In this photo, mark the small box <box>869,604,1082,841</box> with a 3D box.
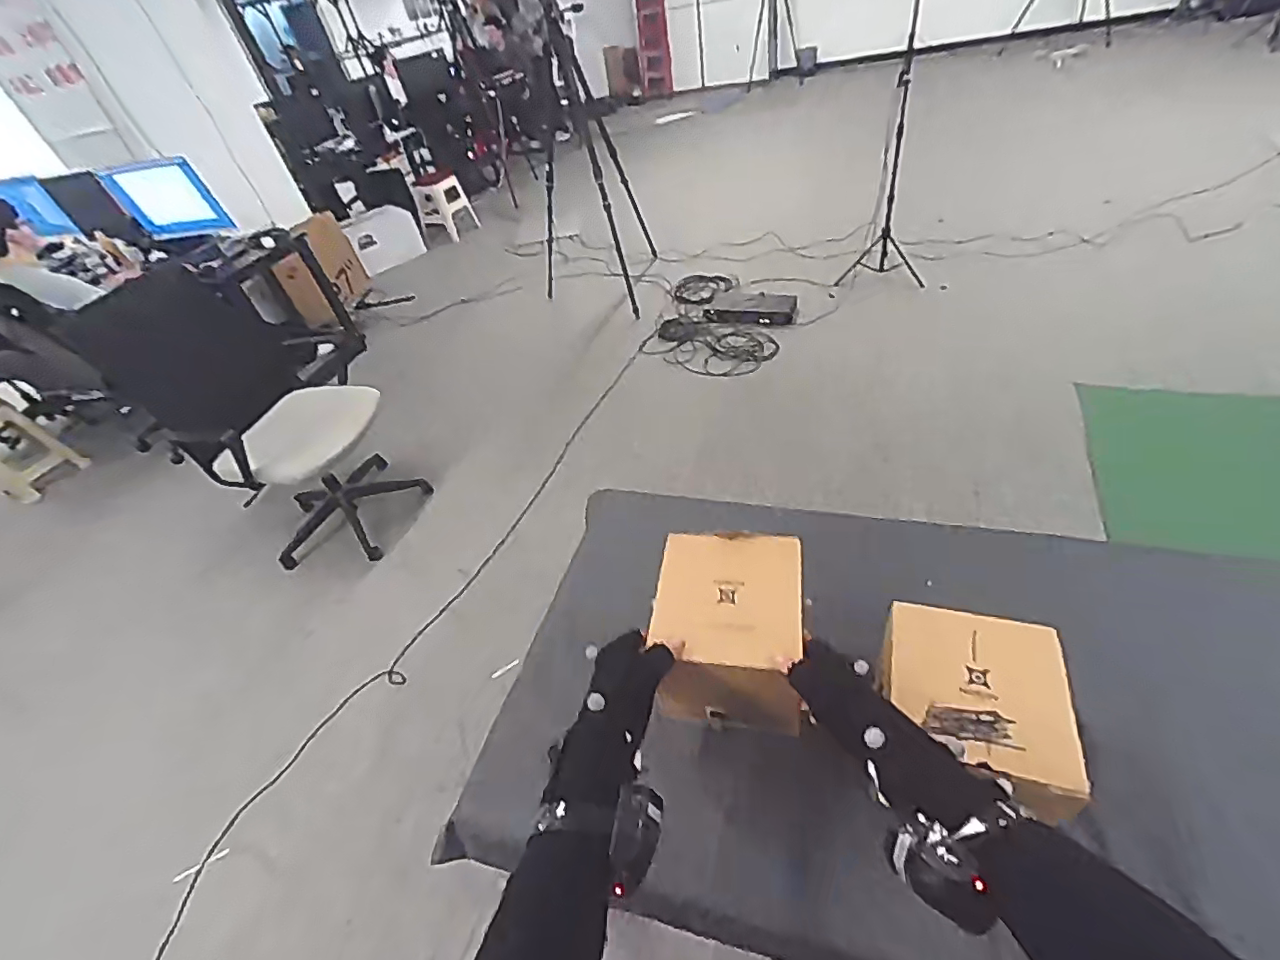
[{"bbox_3d":[0.360,0.274,0.614,0.168,0.176,0.179,7,45,21],"label":"small box"}]

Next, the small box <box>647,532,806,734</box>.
[{"bbox_3d":[0.114,0.185,0.667,0.168,0.176,0.179,0,45,15],"label":"small box"}]
